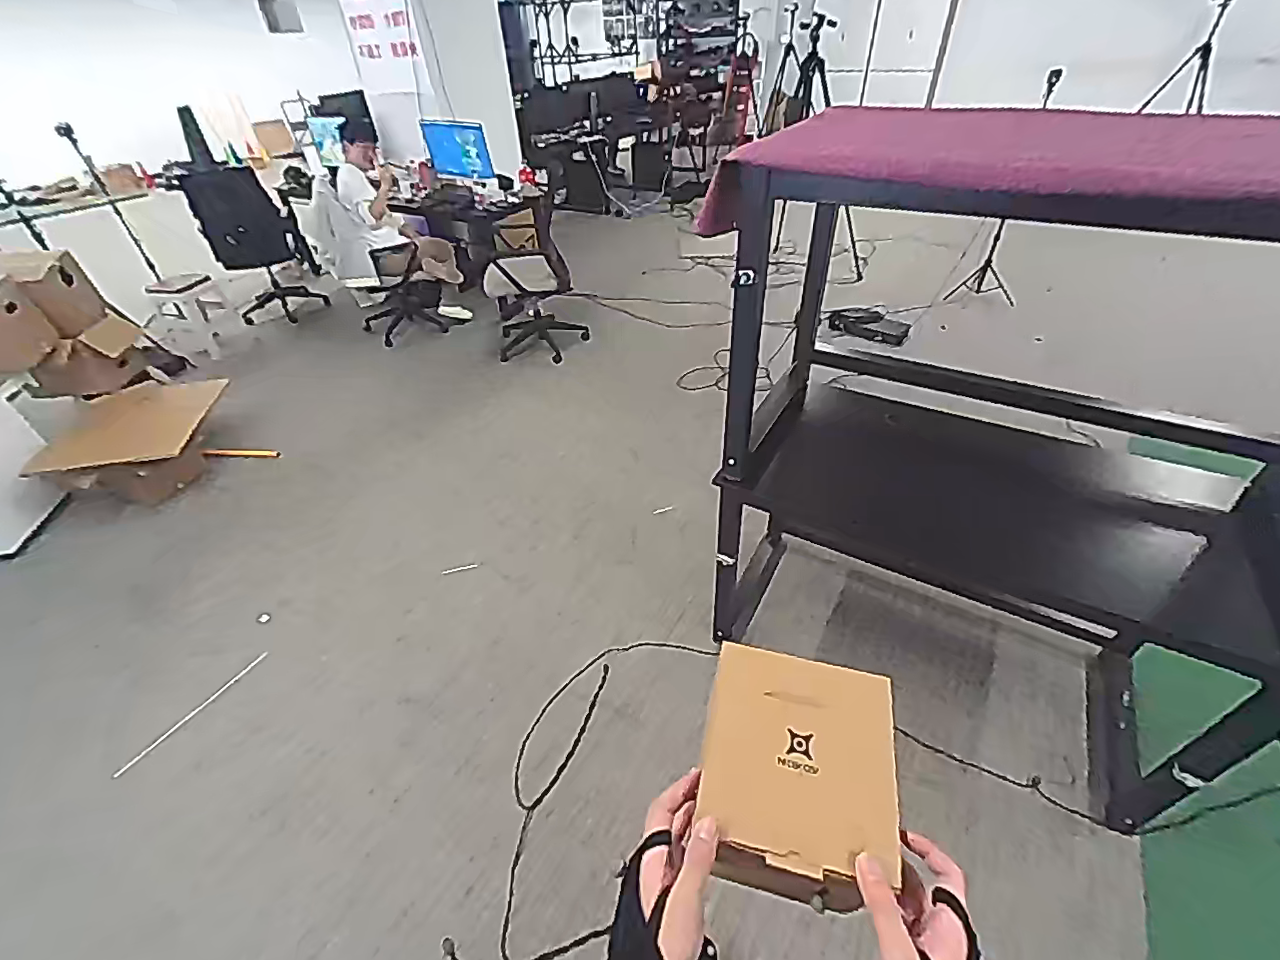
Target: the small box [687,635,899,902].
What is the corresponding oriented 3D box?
[{"bbox_3d":[0.142,0.288,0.538,0.168,0.176,0.179,10,47,10],"label":"small box"}]
